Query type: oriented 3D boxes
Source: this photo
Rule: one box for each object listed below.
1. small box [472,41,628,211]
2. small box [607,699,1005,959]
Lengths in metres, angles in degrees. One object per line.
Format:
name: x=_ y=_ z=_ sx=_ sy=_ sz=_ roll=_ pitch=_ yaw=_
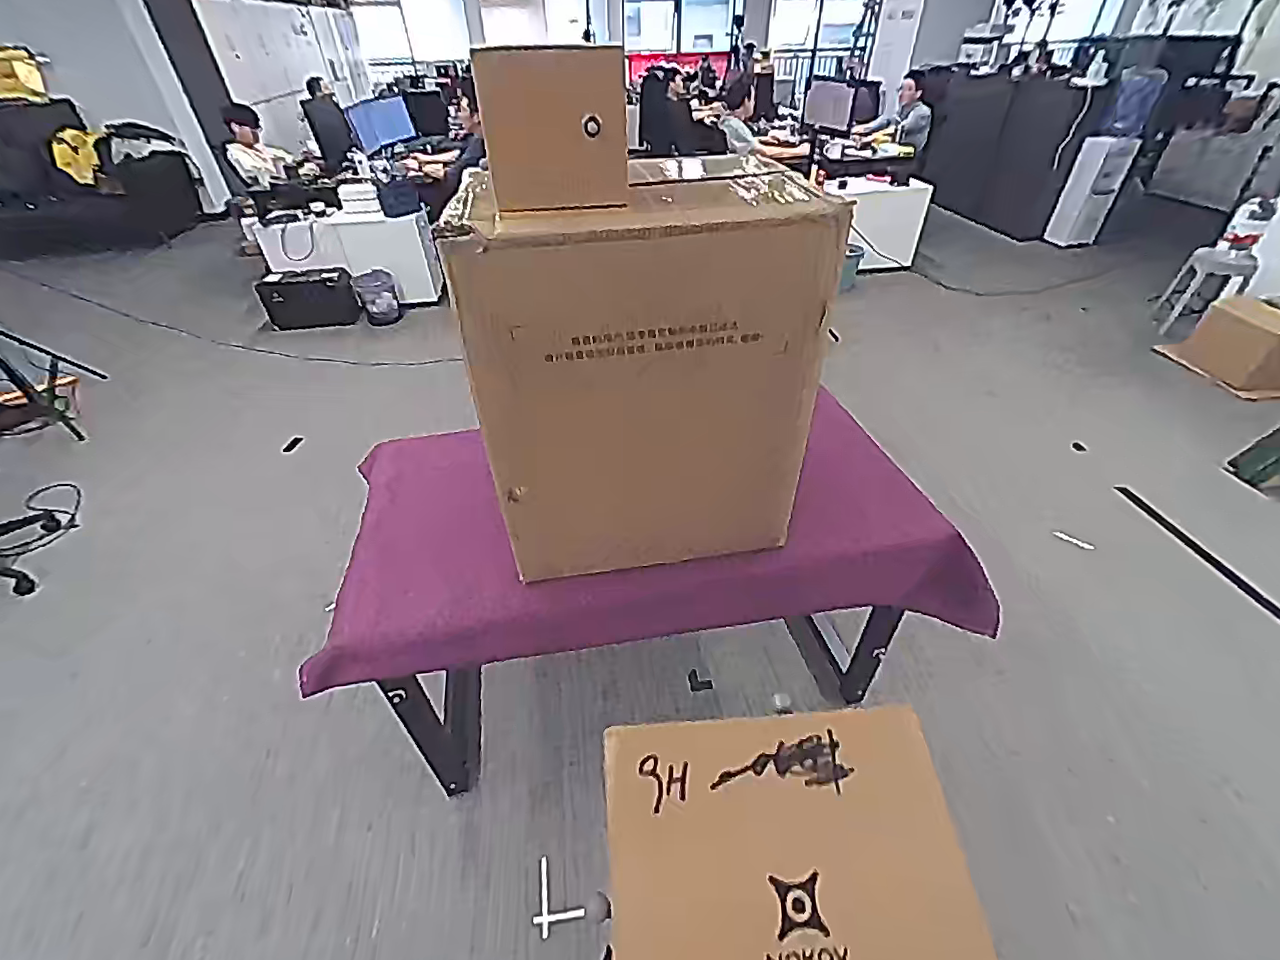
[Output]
small box: x=-0.111 y=-0.467 z=0.713 sx=0.179 sy=0.176 sz=0.168 roll=-8 pitch=40 yaw=-7
small box: x=0.069 y=0.230 z=0.301 sx=0.168 sy=0.176 sz=0.179 roll=-3 pitch=60 yaw=-4
